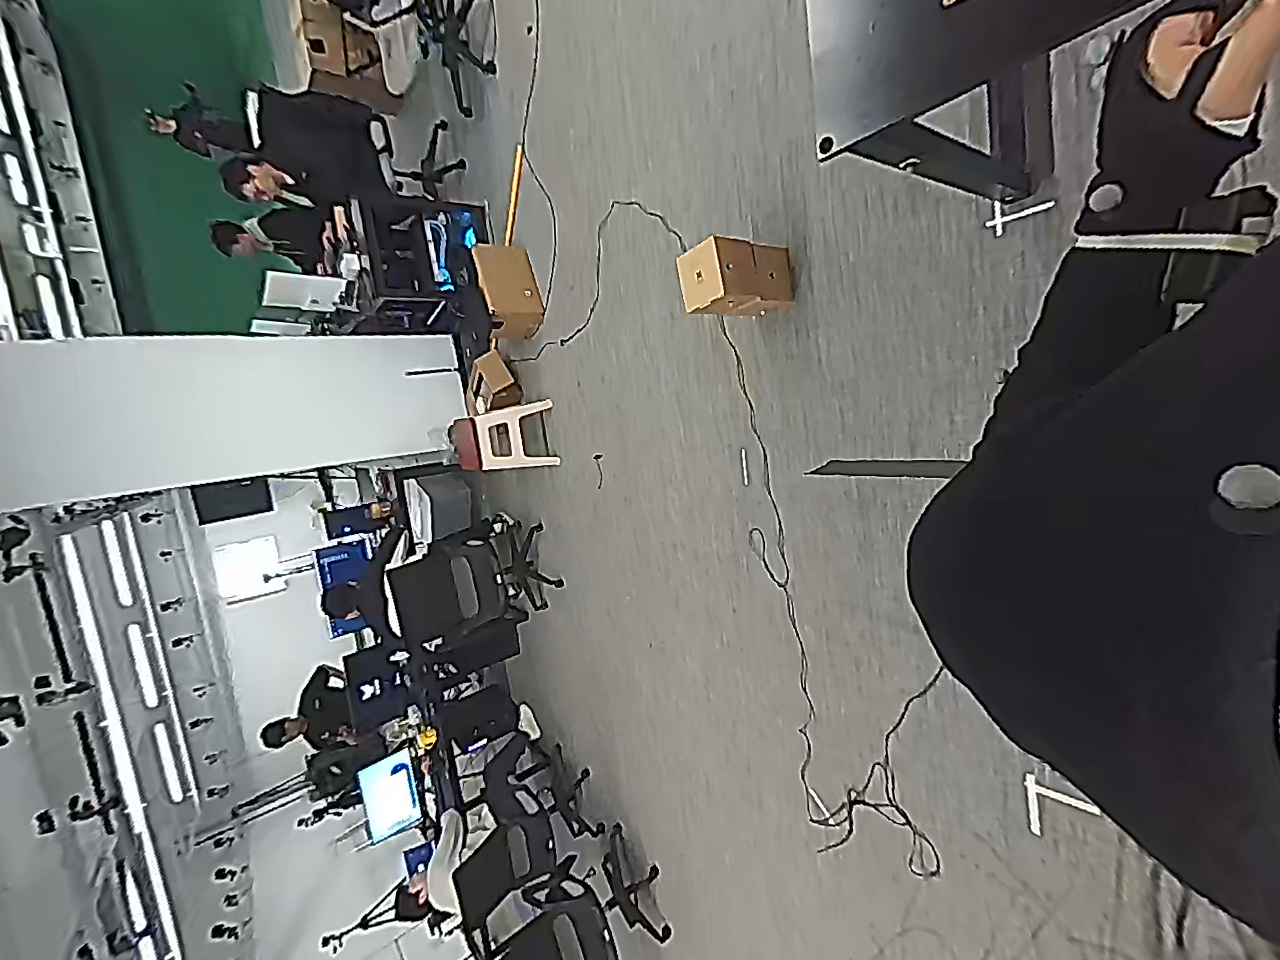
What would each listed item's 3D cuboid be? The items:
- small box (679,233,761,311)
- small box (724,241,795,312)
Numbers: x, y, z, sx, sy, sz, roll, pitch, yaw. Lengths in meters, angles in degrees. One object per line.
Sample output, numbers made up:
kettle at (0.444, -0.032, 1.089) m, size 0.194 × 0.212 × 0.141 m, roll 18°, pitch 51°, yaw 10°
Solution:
small box at (0.248, -0.628, 1.654) m, size 0.168 × 0.176 × 0.179 m, roll -9°, pitch 92°, yaw 53°
small box at (0.378, -0.650, 1.750) m, size 0.168 × 0.176 × 0.179 m, roll -3°, pitch 98°, yaw 53°
